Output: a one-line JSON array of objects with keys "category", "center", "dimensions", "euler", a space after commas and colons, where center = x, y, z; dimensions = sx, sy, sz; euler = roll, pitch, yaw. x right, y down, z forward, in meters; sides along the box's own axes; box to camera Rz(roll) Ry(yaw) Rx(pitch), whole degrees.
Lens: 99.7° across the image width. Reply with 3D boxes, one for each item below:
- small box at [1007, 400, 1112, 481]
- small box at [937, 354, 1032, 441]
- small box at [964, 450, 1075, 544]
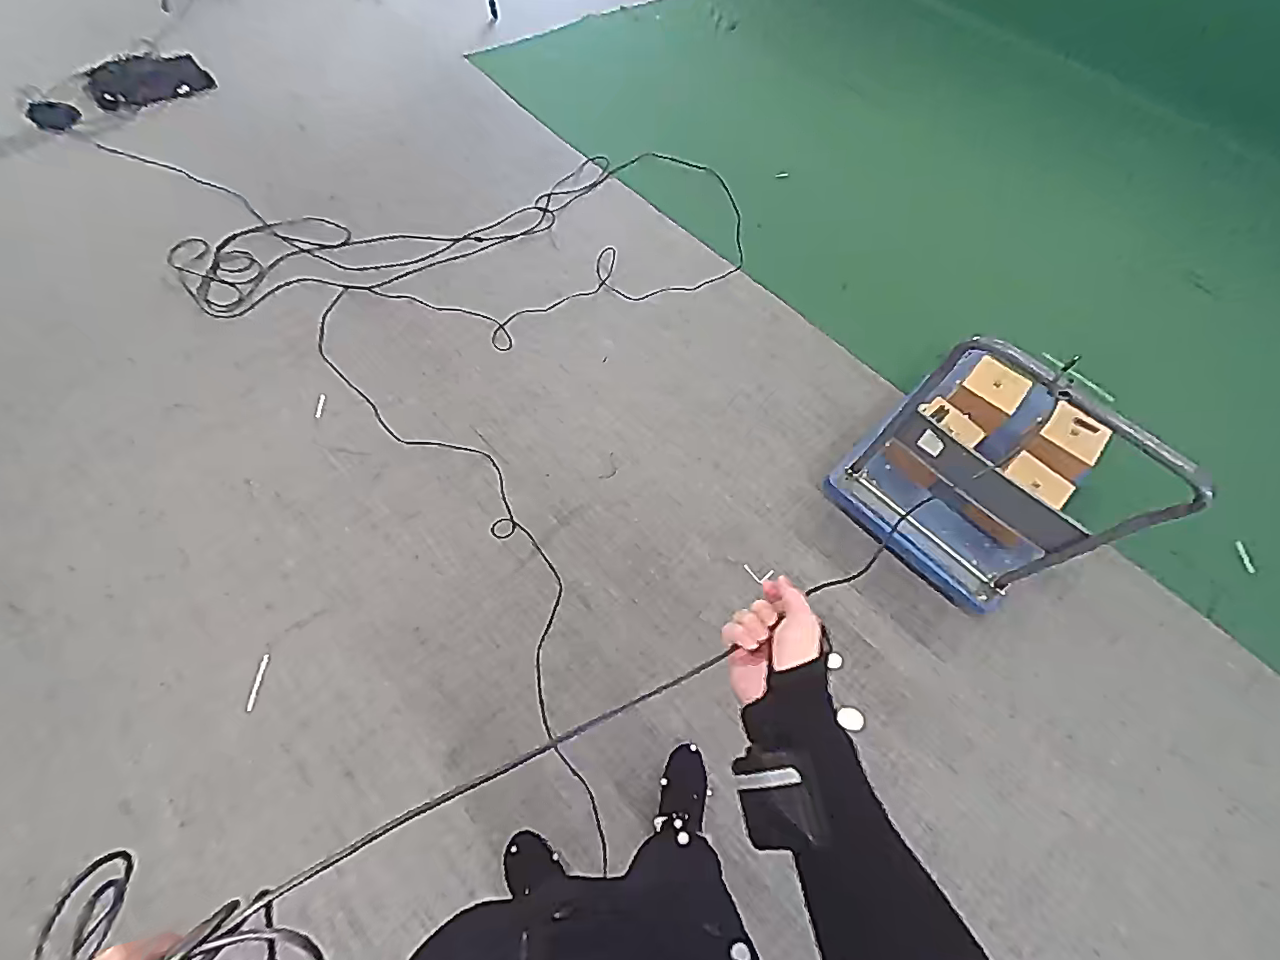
[{"category": "small box", "center": [1.277, -0.104, 1.659], "dimensions": [0.168, 0.176, 0.179], "euler": [40, 67, 17]}, {"category": "small box", "center": [1.091, -0.259, 1.729], "dimensions": [0.168, 0.176, 0.179], "euler": [40, 66, 15]}, {"category": "small box", "center": [1.083, 0.054, 1.558], "dimensions": [0.179, 0.176, 0.168], "euler": [-38, 71, -21]}]
